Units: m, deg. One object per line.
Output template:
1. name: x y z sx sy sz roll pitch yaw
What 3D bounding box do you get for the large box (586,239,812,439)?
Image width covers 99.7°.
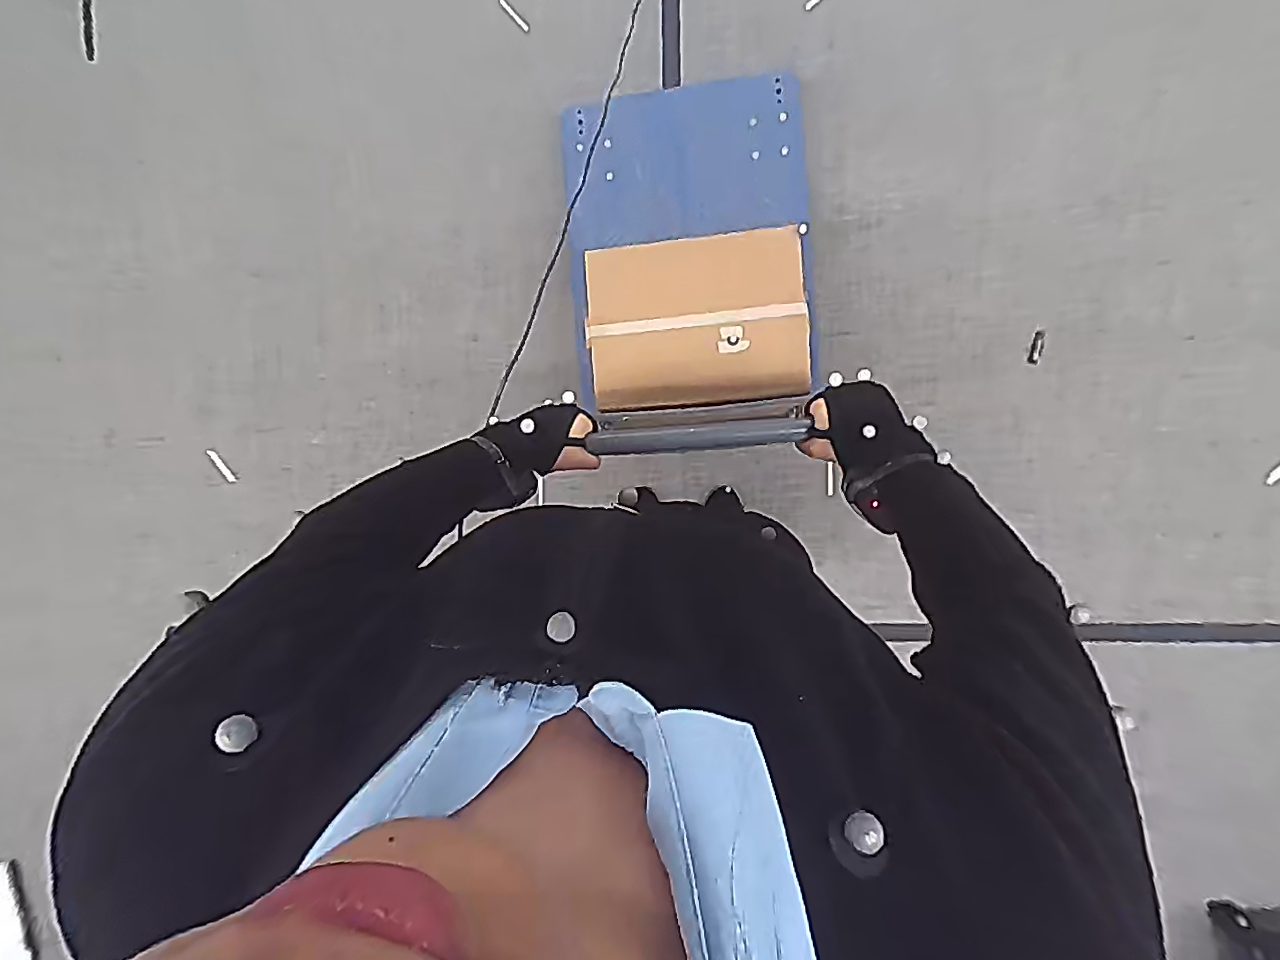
1. large box: 0.119 -0.269 1.152 0.408 0.320 0.320 -4 90 6
